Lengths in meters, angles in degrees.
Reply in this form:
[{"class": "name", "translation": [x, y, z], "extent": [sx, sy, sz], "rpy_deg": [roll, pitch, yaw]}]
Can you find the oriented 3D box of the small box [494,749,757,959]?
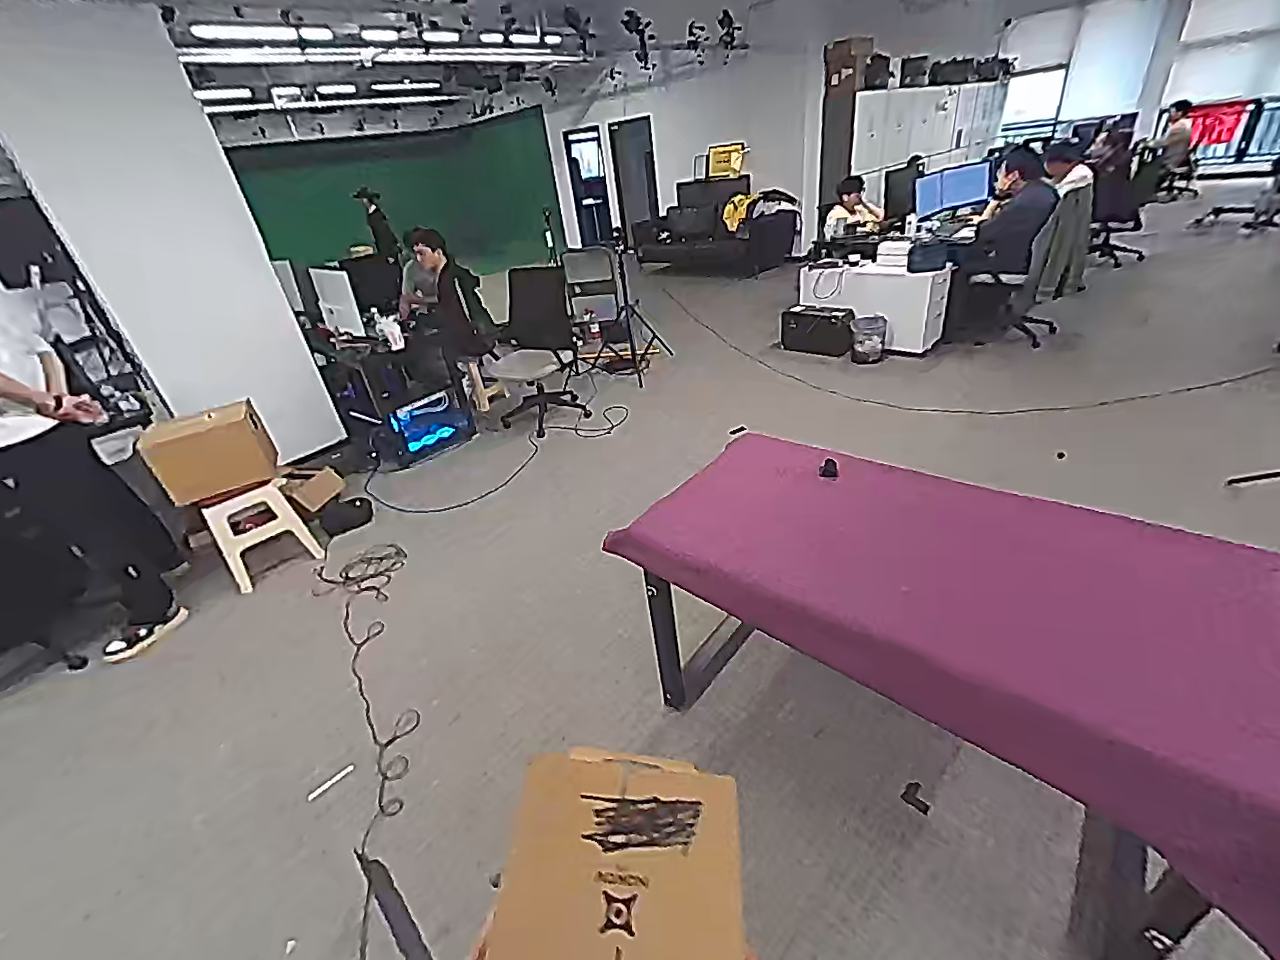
[{"class": "small box", "translation": [-0.014, 0.339, 0.410], "extent": [0.168, 0.176, 0.179], "rpy_deg": [8, 39, 0]}]
